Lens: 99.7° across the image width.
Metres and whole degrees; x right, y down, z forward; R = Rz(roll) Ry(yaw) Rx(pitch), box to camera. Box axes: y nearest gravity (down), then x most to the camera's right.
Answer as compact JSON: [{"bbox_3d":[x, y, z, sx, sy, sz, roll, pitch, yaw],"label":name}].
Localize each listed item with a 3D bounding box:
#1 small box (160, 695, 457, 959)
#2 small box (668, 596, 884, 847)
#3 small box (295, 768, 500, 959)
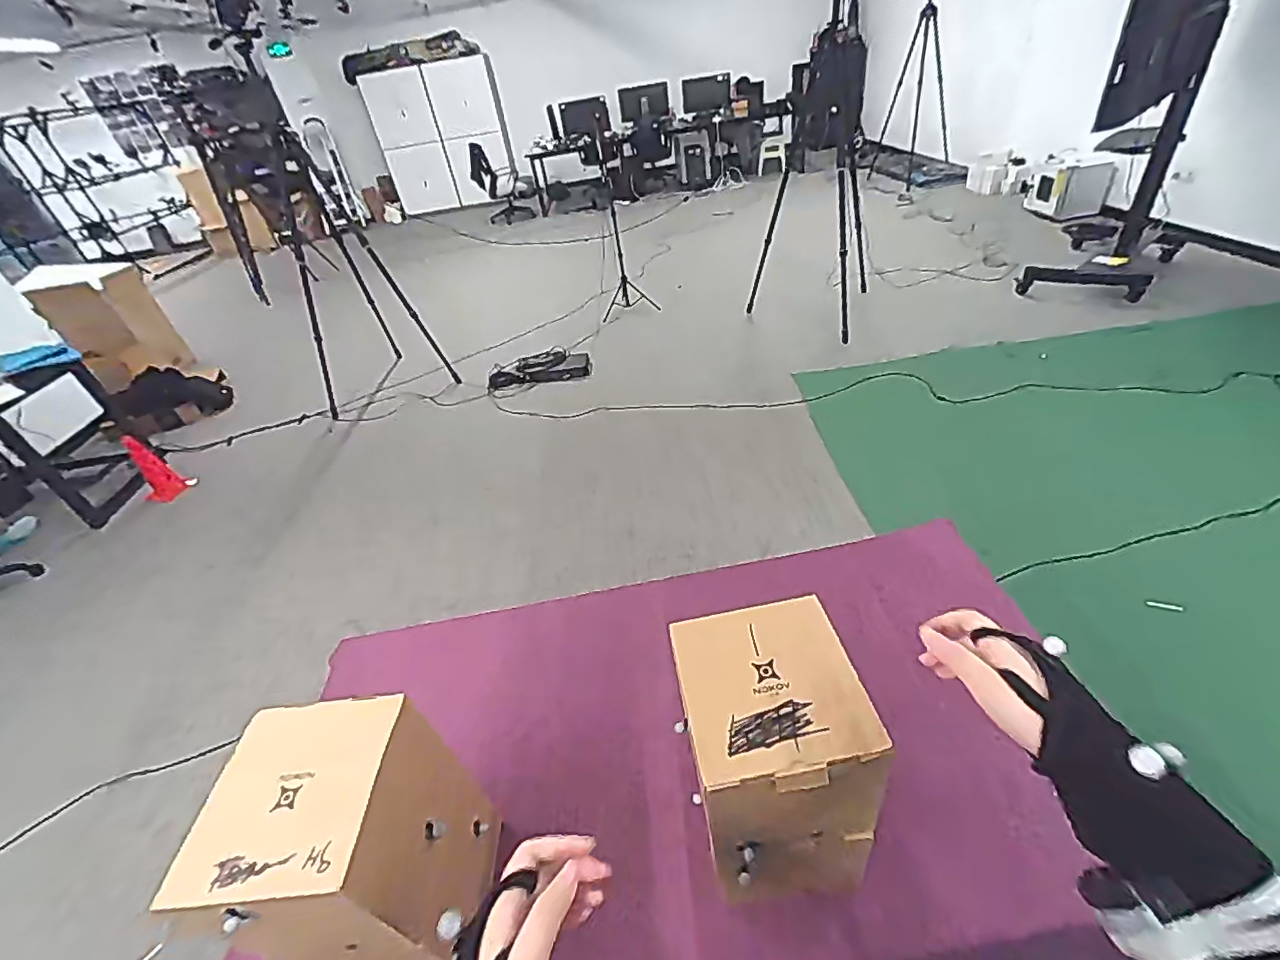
[{"bbox_3d":[-0.307,0.353,0.554,0.168,0.176,0.179,-9,36,5],"label":"small box"},{"bbox_3d":[0.132,0.255,0.568,0.168,0.176,0.179,-11,36,-1],"label":"small box"},{"bbox_3d":[-0.281,0.481,0.655,0.168,0.176,0.179,-8,38,4],"label":"small box"}]
